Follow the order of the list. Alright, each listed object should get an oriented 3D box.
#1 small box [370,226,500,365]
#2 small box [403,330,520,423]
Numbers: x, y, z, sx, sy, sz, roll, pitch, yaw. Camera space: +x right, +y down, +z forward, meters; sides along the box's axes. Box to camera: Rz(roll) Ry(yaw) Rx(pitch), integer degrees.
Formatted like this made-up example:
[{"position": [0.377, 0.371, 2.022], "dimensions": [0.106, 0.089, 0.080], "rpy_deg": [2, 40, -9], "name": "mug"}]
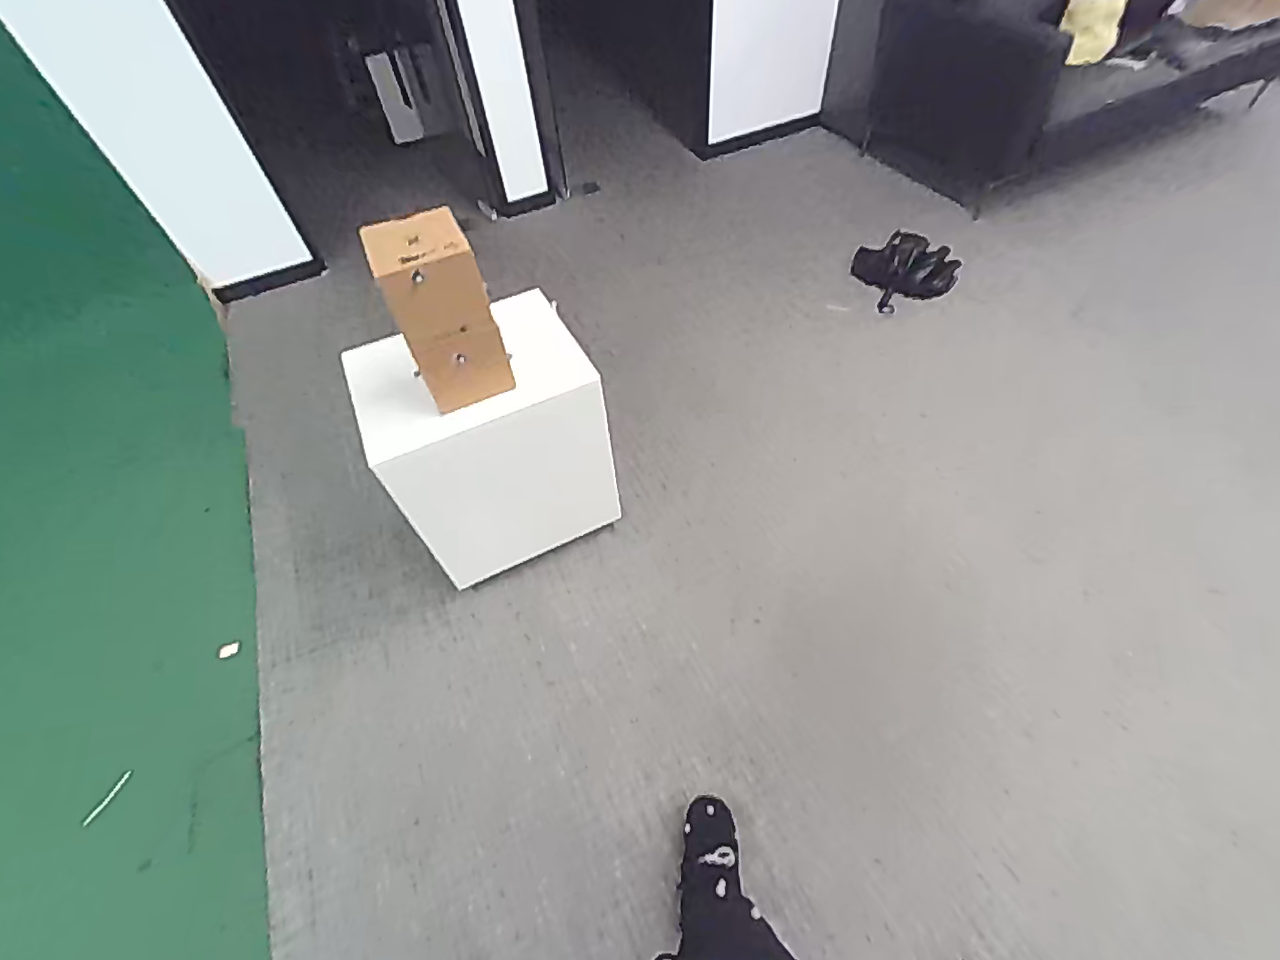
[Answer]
[{"position": [-0.388, -0.352, 1.038], "dimensions": [0.168, 0.176, 0.179], "rpy_deg": [-24, 55, -15], "name": "small box"}, {"position": [-0.378, -0.249, 1.162], "dimensions": [0.179, 0.176, 0.168], "rpy_deg": [-23, 54, -14], "name": "small box"}]
